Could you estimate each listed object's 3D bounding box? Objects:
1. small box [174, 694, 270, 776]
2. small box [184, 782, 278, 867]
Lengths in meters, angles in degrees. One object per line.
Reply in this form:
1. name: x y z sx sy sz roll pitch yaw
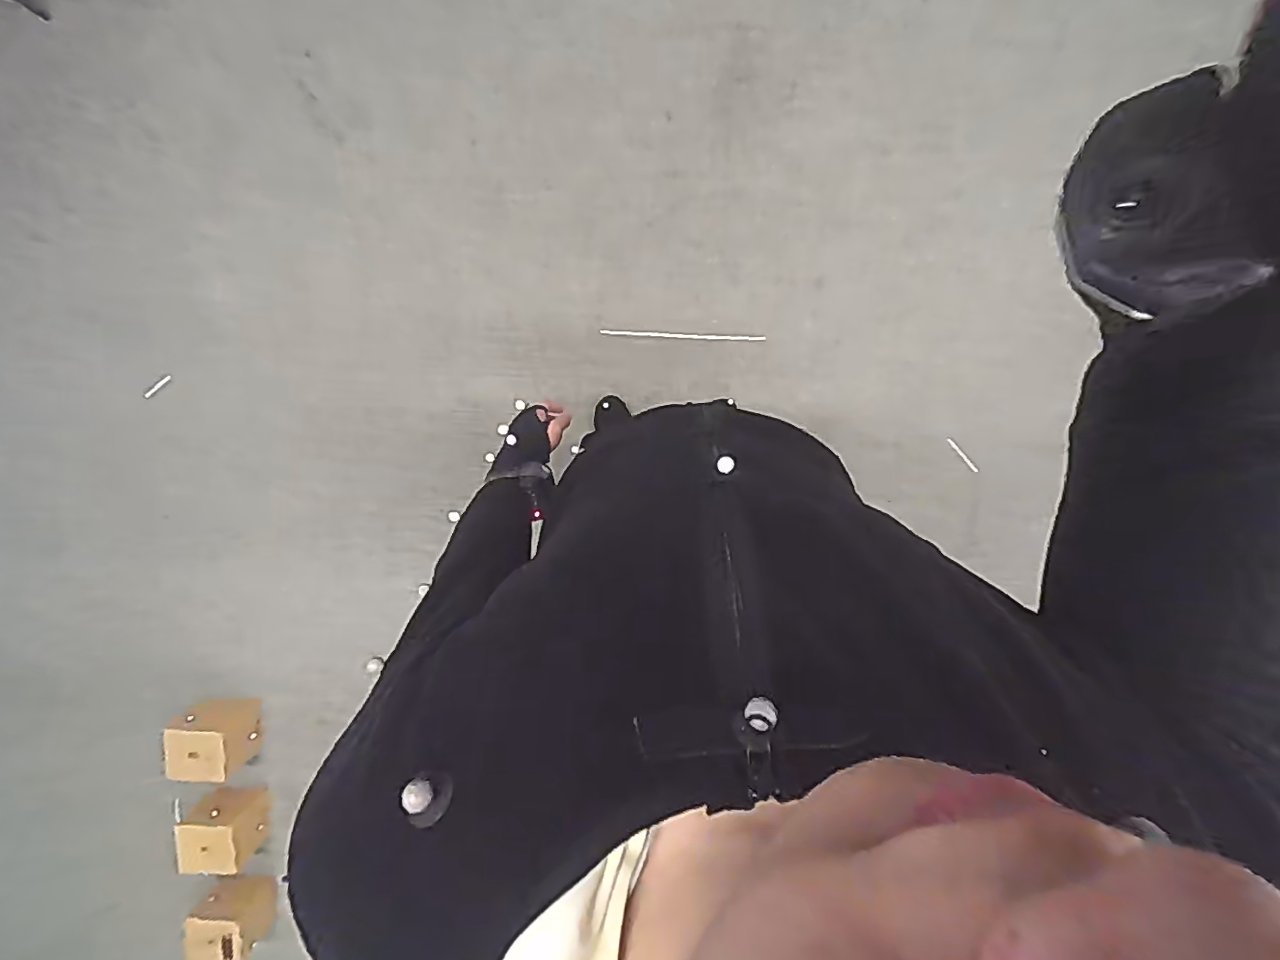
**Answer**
1. small box: -1.303 0.793 1.694 0.179 0.176 0.168 4 98 0
2. small box: -1.311 1.104 1.741 0.179 0.176 0.168 1 98 0
